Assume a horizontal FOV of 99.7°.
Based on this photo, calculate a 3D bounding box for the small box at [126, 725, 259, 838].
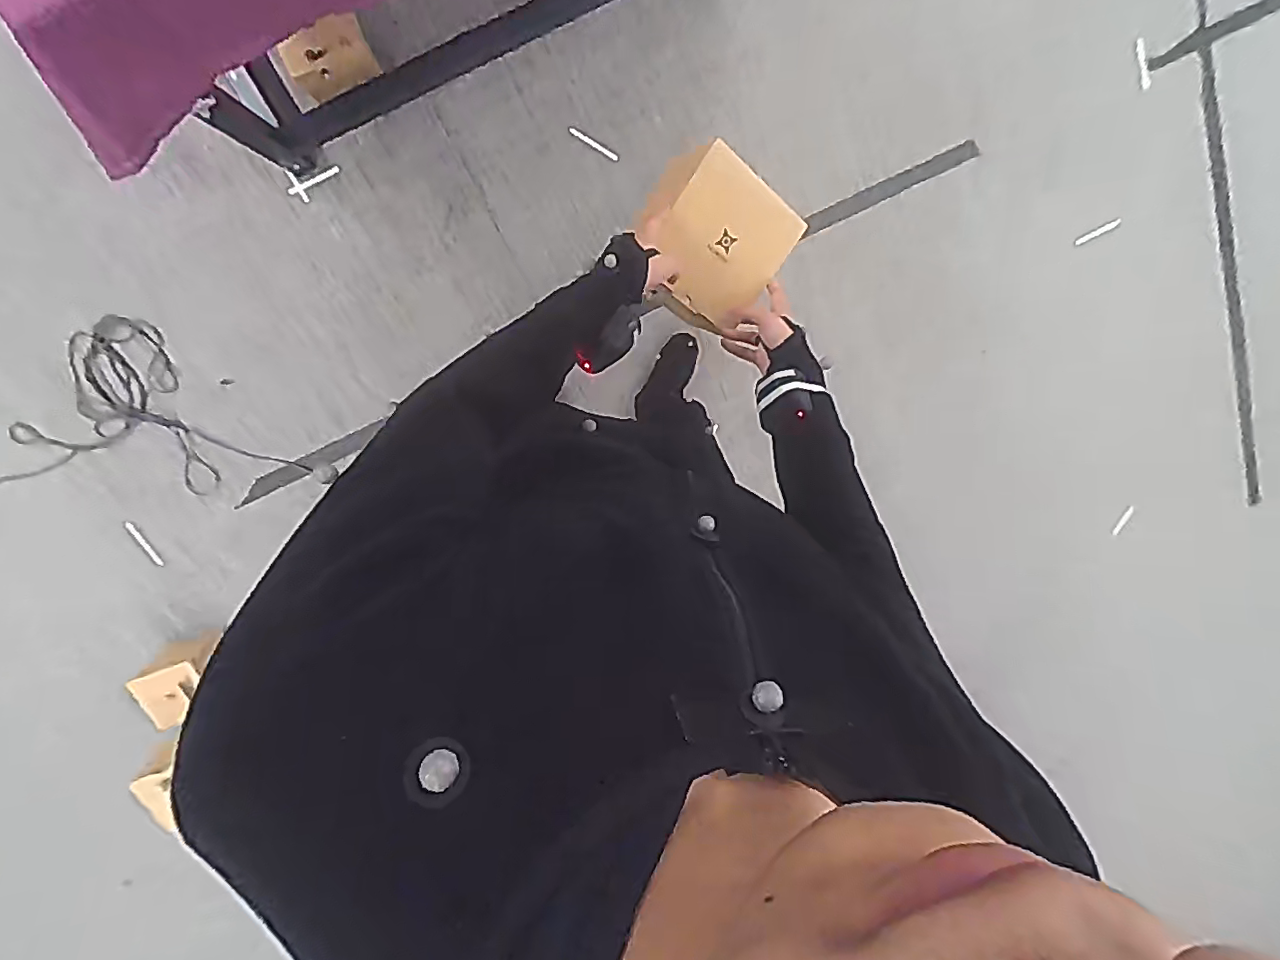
[{"bbox_3d":[-1.154,0.774,1.412,0.168,0.176,0.179,-22,108,-2],"label":"small box"}]

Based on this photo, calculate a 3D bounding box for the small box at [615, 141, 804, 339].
[{"bbox_3d":[0.085,-0.328,0.758,0.168,0.176,0.179,29,102,-25],"label":"small box"}]

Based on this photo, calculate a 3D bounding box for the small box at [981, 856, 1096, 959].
[{"bbox_3d":[1.033,1.141,1.412,0.168,0.176,0.179,-24,108,-3],"label":"small box"}]
